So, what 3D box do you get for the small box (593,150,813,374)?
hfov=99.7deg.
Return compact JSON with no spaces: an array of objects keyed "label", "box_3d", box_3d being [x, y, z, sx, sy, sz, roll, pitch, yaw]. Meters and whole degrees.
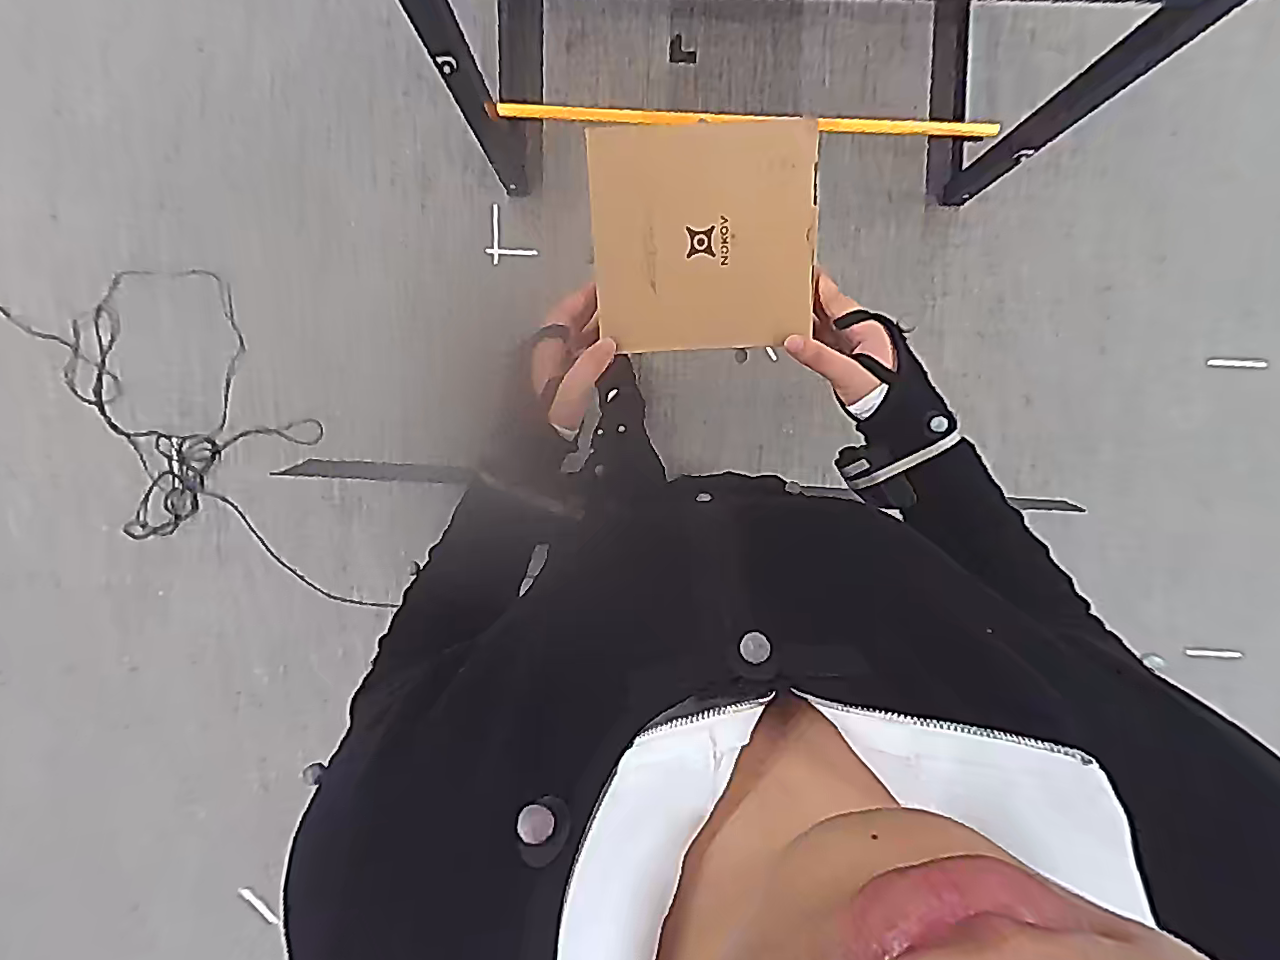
[{"label":"small box","box_3d":[0.051,-0.194,0.518,0.179,0.176,0.168,-4,103,0]}]
